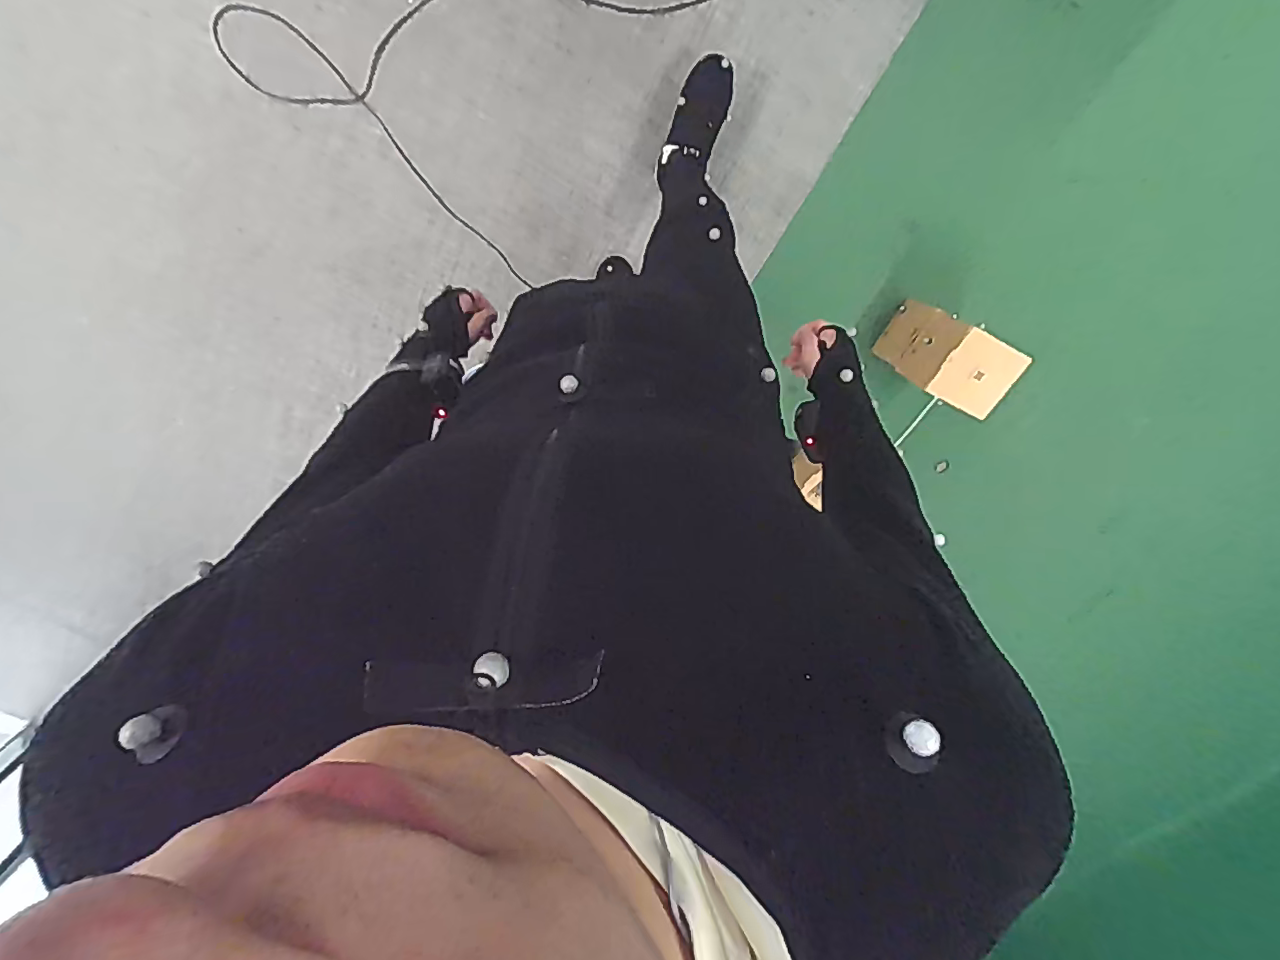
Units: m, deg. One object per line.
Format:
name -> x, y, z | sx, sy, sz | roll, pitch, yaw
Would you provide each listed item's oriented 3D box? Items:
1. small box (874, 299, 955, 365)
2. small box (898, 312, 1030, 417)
small box -> 0.762, -0.365, 1.437 | 0.179, 0.176, 0.168 | 24, 116, -12
small box -> 0.765, -0.283, 1.297 | 0.179, 0.176, 0.168 | 23, 116, -11
